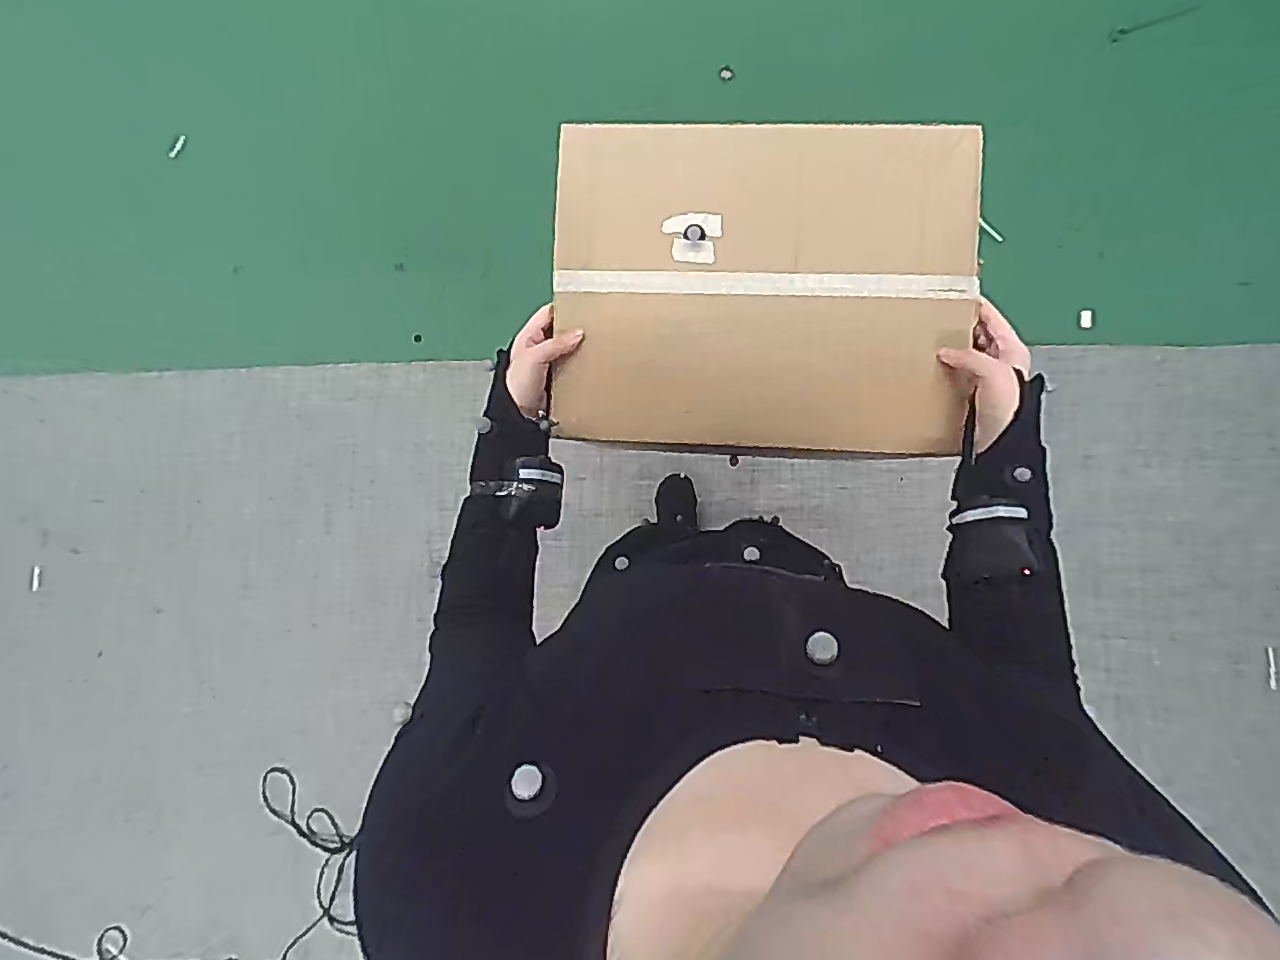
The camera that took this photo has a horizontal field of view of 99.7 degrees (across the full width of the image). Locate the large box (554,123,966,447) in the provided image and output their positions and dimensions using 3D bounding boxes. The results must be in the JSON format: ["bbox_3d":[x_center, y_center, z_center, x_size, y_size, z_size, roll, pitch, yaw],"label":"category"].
[{"bbox_3d":[0.127,-0.199,0.688,0.408,0.320,0.320,2,91,6],"label":"large box"}]
